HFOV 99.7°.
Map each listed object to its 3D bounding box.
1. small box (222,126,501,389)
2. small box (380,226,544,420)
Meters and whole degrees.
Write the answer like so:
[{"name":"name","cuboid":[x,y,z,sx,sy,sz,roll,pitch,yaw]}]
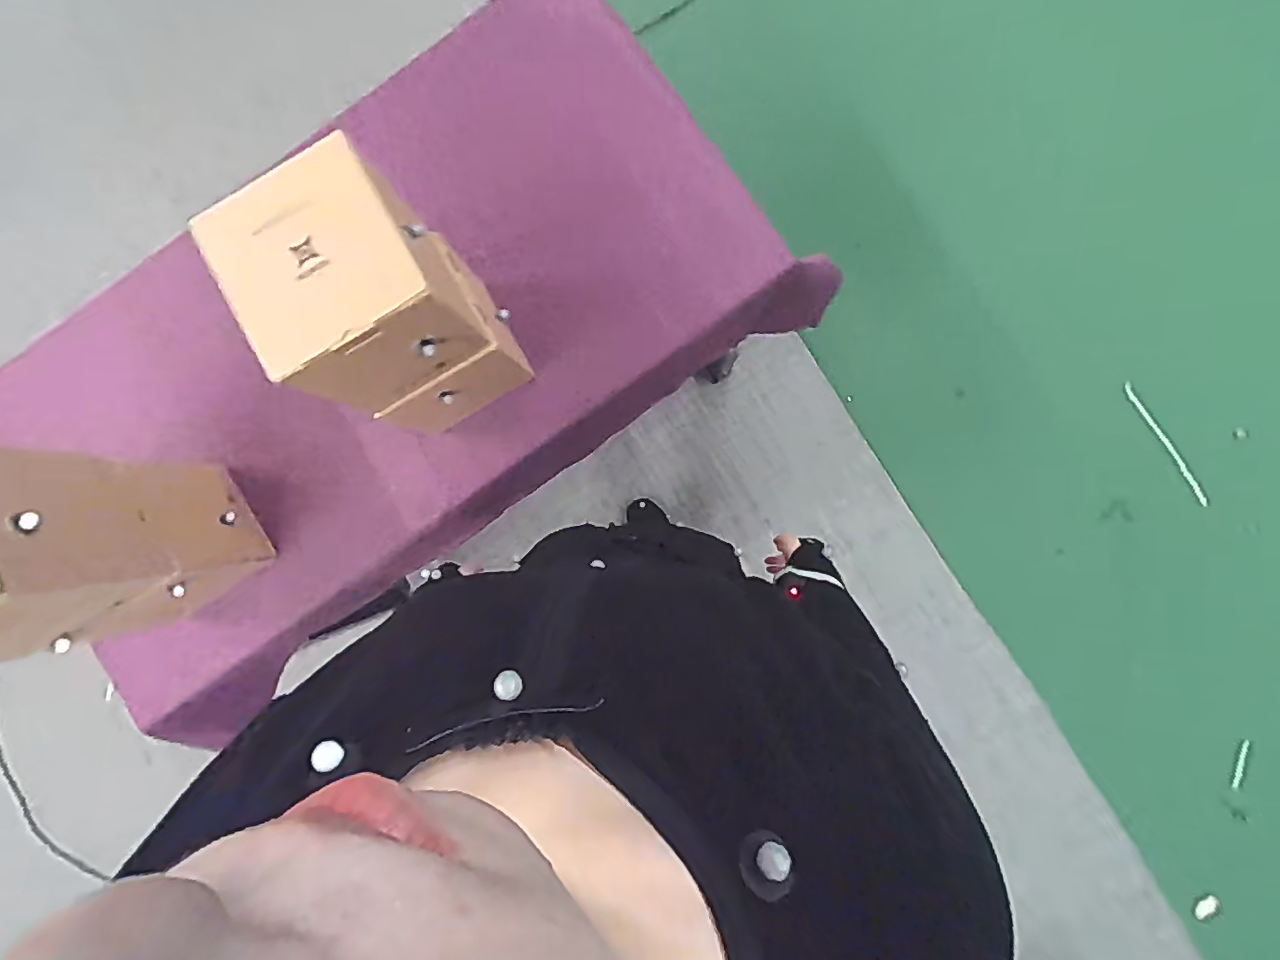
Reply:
[{"name":"small box","cuboid":[-0.273,-0.210,0.572,0.168,0.176,0.179,-27,85,3]},{"name":"small box","cuboid":[-0.256,-0.196,0.733,0.179,0.176,0.168,-26,87,3]}]
